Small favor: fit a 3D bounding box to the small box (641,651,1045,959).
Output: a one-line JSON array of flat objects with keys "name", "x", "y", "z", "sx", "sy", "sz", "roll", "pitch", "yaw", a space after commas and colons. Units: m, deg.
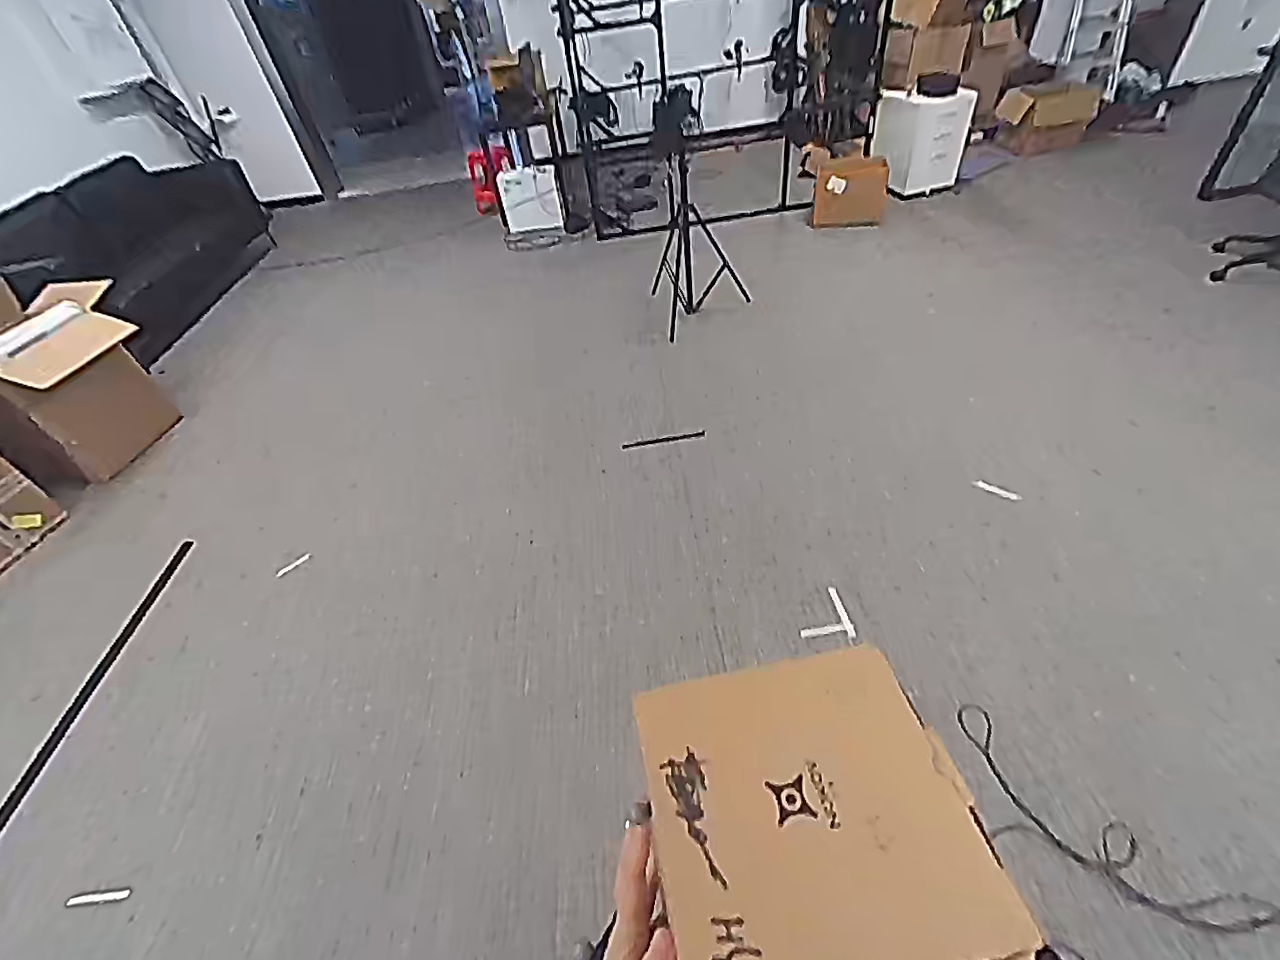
[{"name": "small box", "x": 0.100, "y": 0.243, "z": 0.361, "sx": 0.179, "sy": 0.176, "sz": 0.168, "roll": -9, "pitch": 42, "yaw": -7}]
